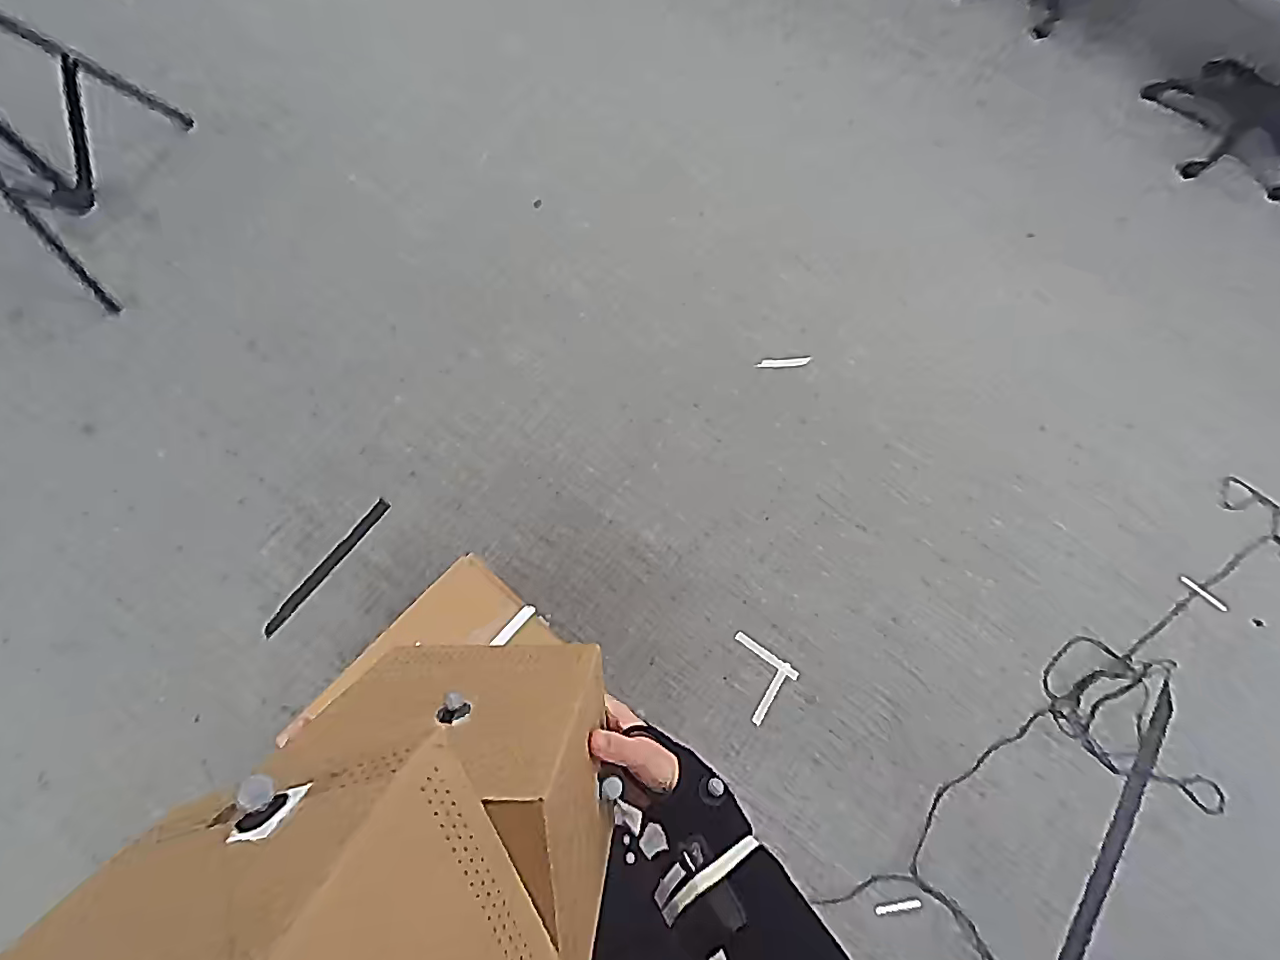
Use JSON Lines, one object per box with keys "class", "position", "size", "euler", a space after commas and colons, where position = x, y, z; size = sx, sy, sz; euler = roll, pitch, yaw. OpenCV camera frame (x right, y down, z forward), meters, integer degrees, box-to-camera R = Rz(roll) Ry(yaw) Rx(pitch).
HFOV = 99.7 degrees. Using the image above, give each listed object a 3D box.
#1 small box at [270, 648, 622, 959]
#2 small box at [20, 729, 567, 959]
{"class": "small box", "position": [-0.110, 0.229, 0.371], "size": [0.179, 0.176, 0.168], "euler": [-1, 100, 4]}
{"class": "small box", "position": [-0.136, 0.238, 0.209], "size": [0.168, 0.176, 0.179], "euler": [-20, 97, 7]}
